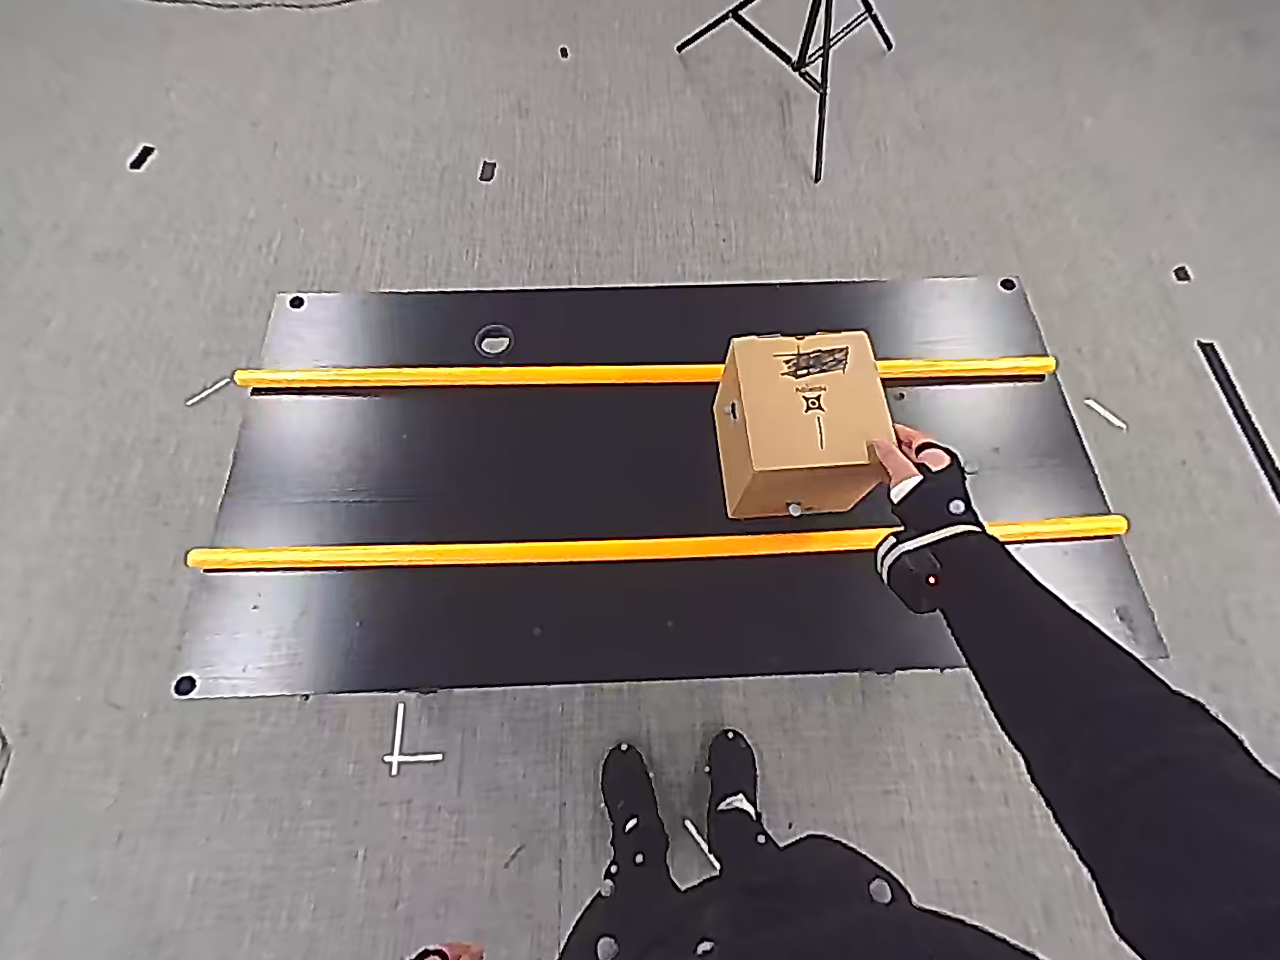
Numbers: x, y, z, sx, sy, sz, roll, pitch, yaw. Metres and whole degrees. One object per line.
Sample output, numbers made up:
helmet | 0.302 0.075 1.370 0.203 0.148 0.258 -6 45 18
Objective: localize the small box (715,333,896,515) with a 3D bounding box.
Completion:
small box | 0.196 -0.066 0.698 0.168 0.176 0.179 -4 68 -1
